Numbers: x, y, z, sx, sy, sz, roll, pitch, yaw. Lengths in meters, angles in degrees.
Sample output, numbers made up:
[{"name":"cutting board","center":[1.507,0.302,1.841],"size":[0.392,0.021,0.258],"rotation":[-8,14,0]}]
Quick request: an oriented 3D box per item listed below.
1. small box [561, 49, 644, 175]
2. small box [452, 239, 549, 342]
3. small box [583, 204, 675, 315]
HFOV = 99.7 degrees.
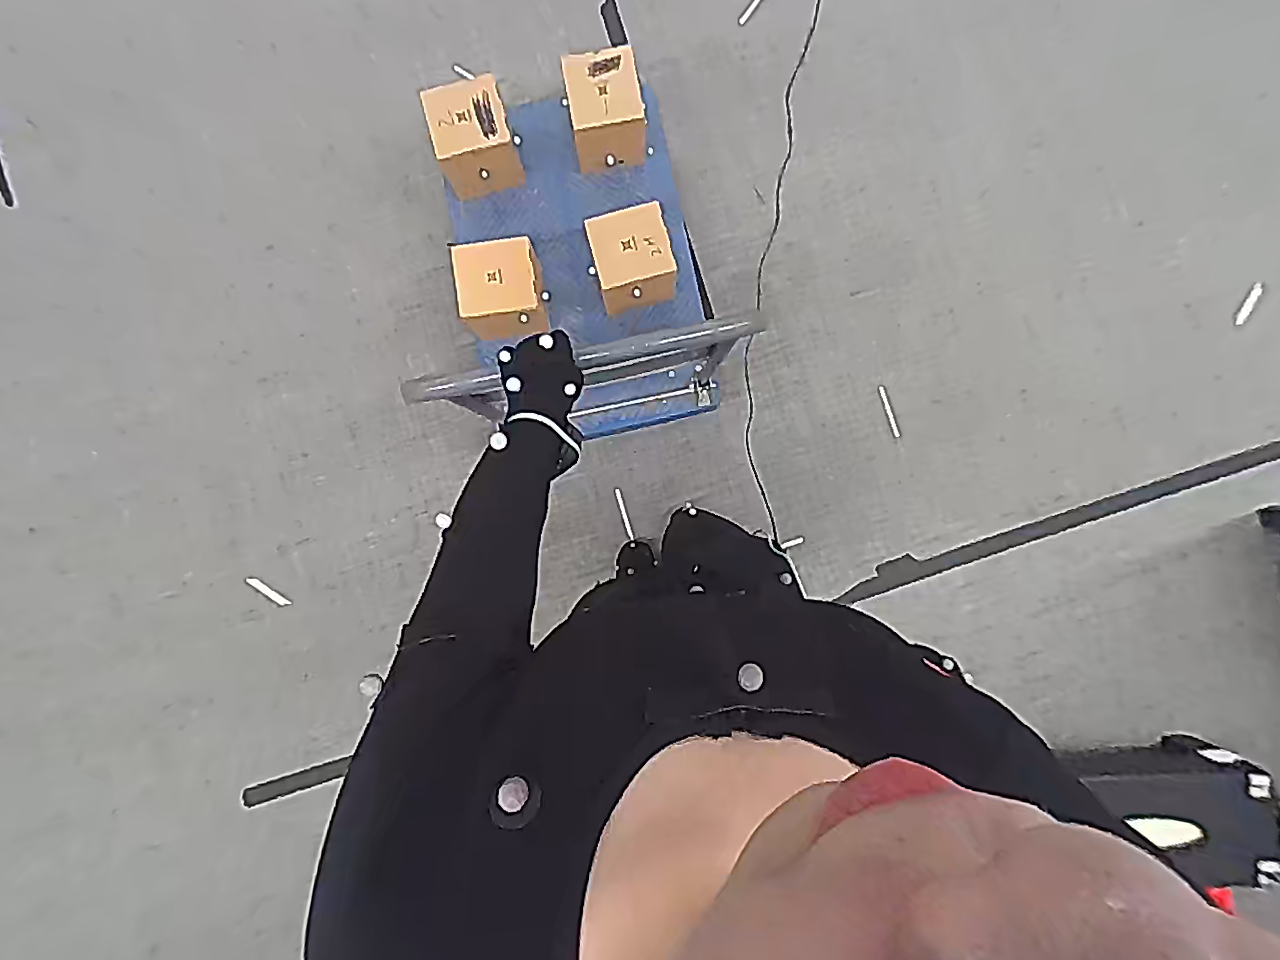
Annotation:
[{"name":"small box","center":[-0.087,-0.875,1.298],"size":[0.168,0.176,0.179],"rotation":[-11,88,0]},{"name":"small box","center":[-0.323,-0.438,1.276],"size":[0.179,0.176,0.168],"rotation":[-9,87,-2]},{"name":"small box","center":[-0.022,-0.510,1.278],"size":[0.179,0.176,0.168],"rotation":[-15,87,0]}]
